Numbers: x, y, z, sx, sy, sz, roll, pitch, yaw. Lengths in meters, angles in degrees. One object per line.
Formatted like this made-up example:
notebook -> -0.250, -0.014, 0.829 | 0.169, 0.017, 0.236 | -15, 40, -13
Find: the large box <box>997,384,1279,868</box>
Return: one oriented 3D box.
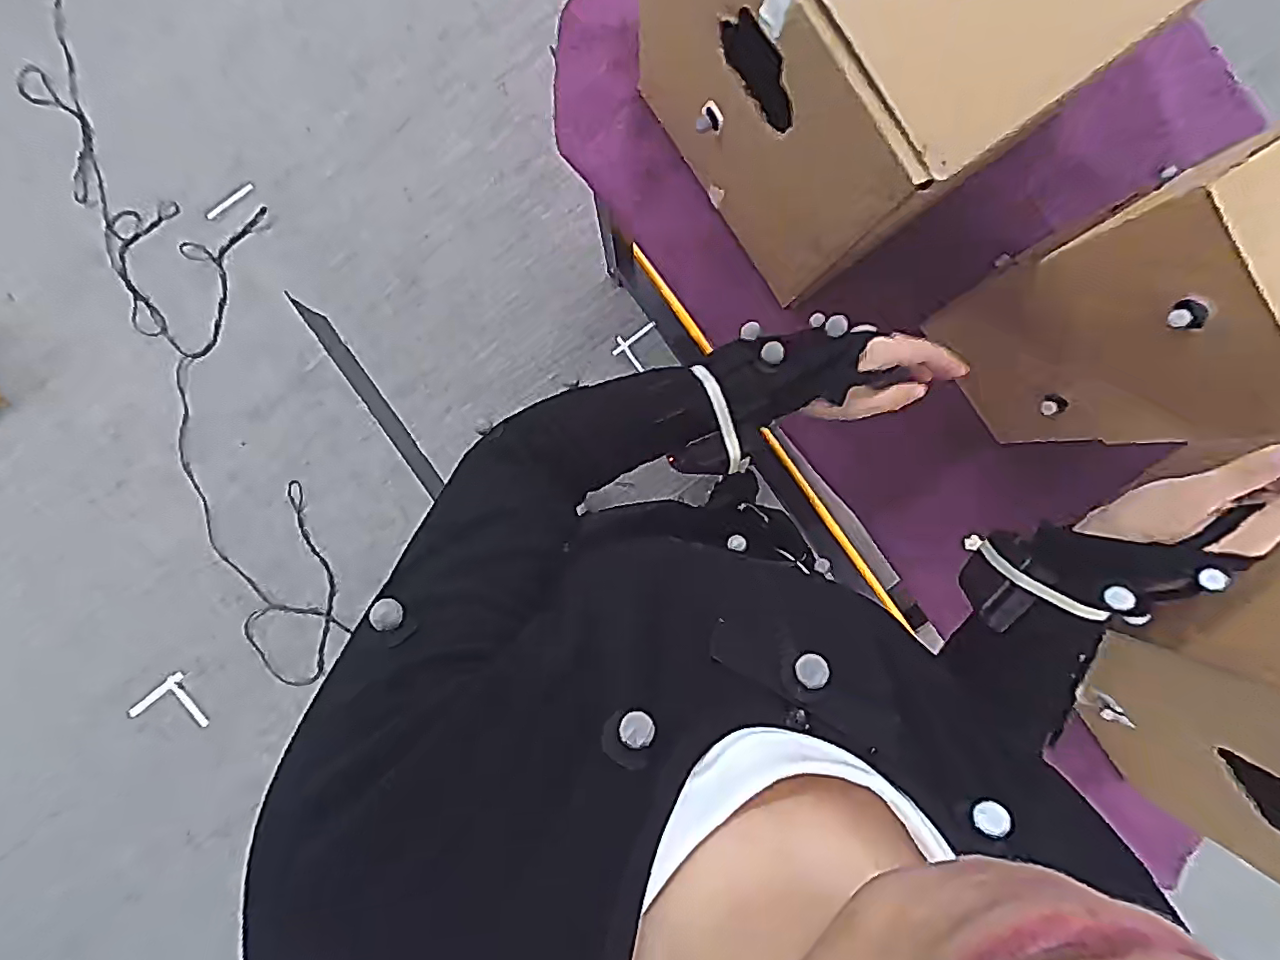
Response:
large box -> 0.665, 0.128, 0.499 | 0.408, 0.320, 0.320 | -37, 92, 0
